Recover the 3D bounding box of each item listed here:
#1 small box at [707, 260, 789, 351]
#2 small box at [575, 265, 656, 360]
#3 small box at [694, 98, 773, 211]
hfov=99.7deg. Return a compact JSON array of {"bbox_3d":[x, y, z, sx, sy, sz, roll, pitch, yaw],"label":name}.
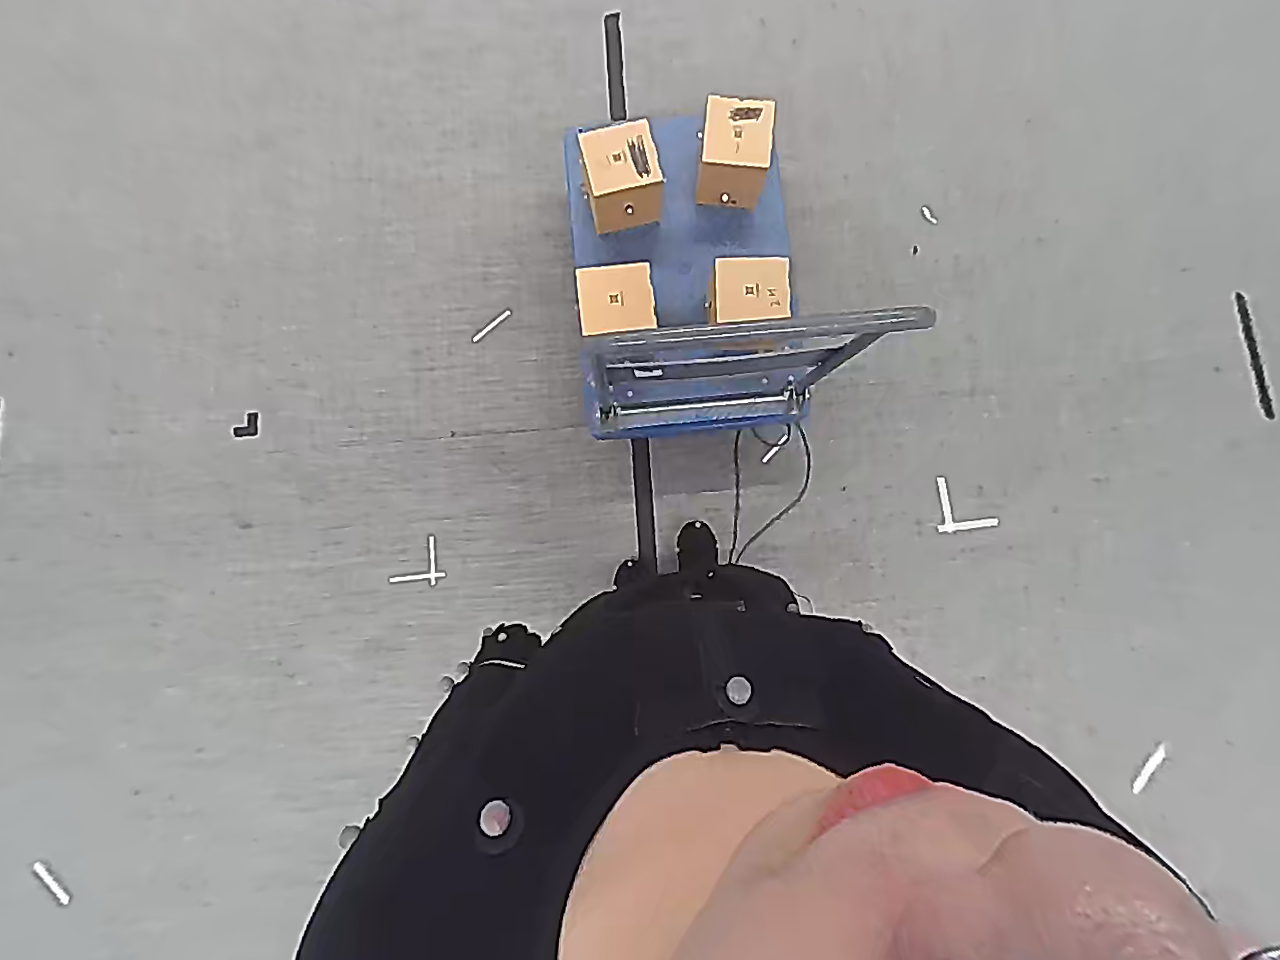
[{"bbox_3d":[0.258,-0.424,1.334,0.179,0.176,0.168,0,84,-1],"label":"small box"},{"bbox_3d":[-0.059,-0.403,1.328,0.179,0.176,0.168,-7,83,-3],"label":"small box"},{"bbox_3d":[0.231,-0.823,1.378,0.168,0.176,0.179,5,85,0],"label":"small box"}]
